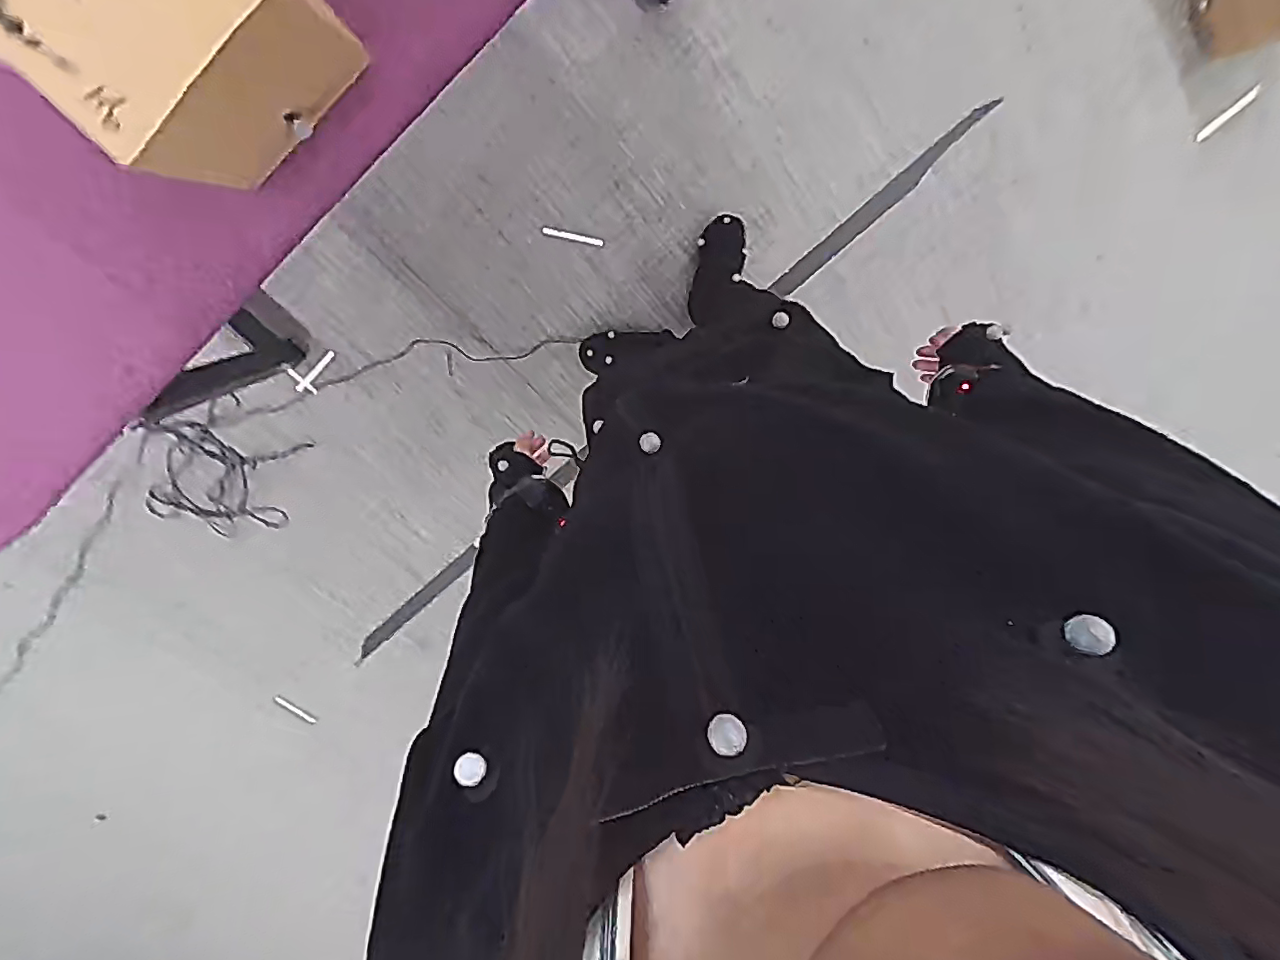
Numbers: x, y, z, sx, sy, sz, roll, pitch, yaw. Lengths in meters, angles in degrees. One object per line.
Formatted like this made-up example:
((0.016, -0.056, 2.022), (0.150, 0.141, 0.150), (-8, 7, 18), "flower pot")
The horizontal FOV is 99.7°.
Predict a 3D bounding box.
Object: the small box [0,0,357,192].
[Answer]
((-0.354, -0.356, 0.417), (0.179, 0.176, 0.168), (-39, 111, 10), "small box")

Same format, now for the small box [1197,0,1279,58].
((1.296, -1.013, 1.094), (0.179, 0.176, 0.168), (-41, 111, 11), "small box")
